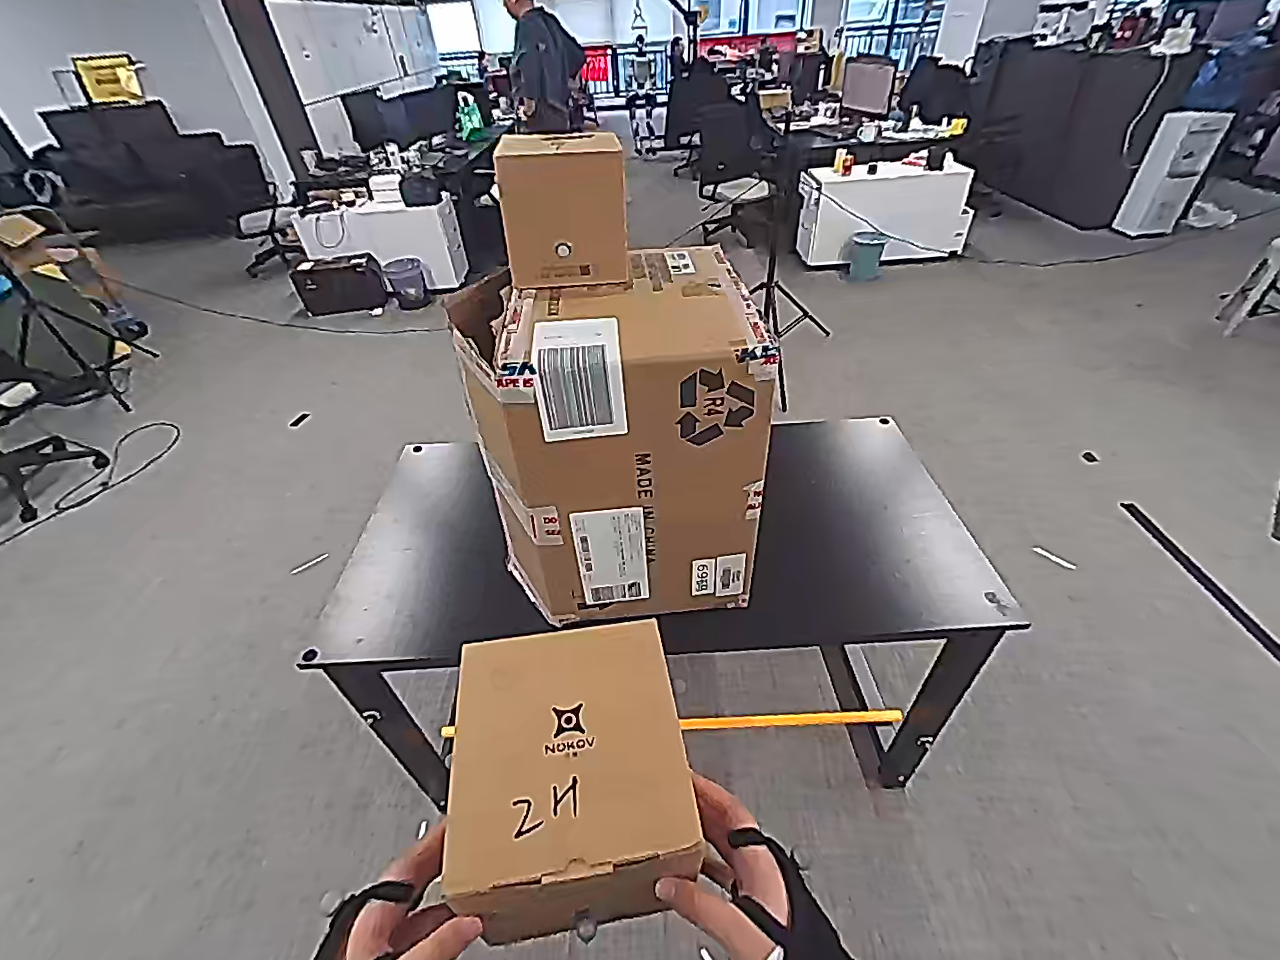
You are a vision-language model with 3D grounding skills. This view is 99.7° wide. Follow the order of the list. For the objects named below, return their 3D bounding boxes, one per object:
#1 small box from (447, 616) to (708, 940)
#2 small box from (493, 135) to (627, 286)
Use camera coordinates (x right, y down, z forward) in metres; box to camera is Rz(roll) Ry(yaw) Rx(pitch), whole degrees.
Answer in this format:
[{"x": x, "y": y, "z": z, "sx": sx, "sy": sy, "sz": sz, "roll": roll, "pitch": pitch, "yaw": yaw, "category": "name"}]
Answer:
[{"x": -0.049, "y": 0.241, "z": 0.448, "sx": 0.168, "sy": 0.176, "sz": 0.179, "roll": -6, "pitch": 42, "yaw": -7, "category": "small box"}, {"x": -0.109, "y": -0.394, "z": 0.788, "sx": 0.168, "sy": 0.176, "sz": 0.179, "roll": -5, "pitch": 39, "yaw": -4, "category": "small box"}]
